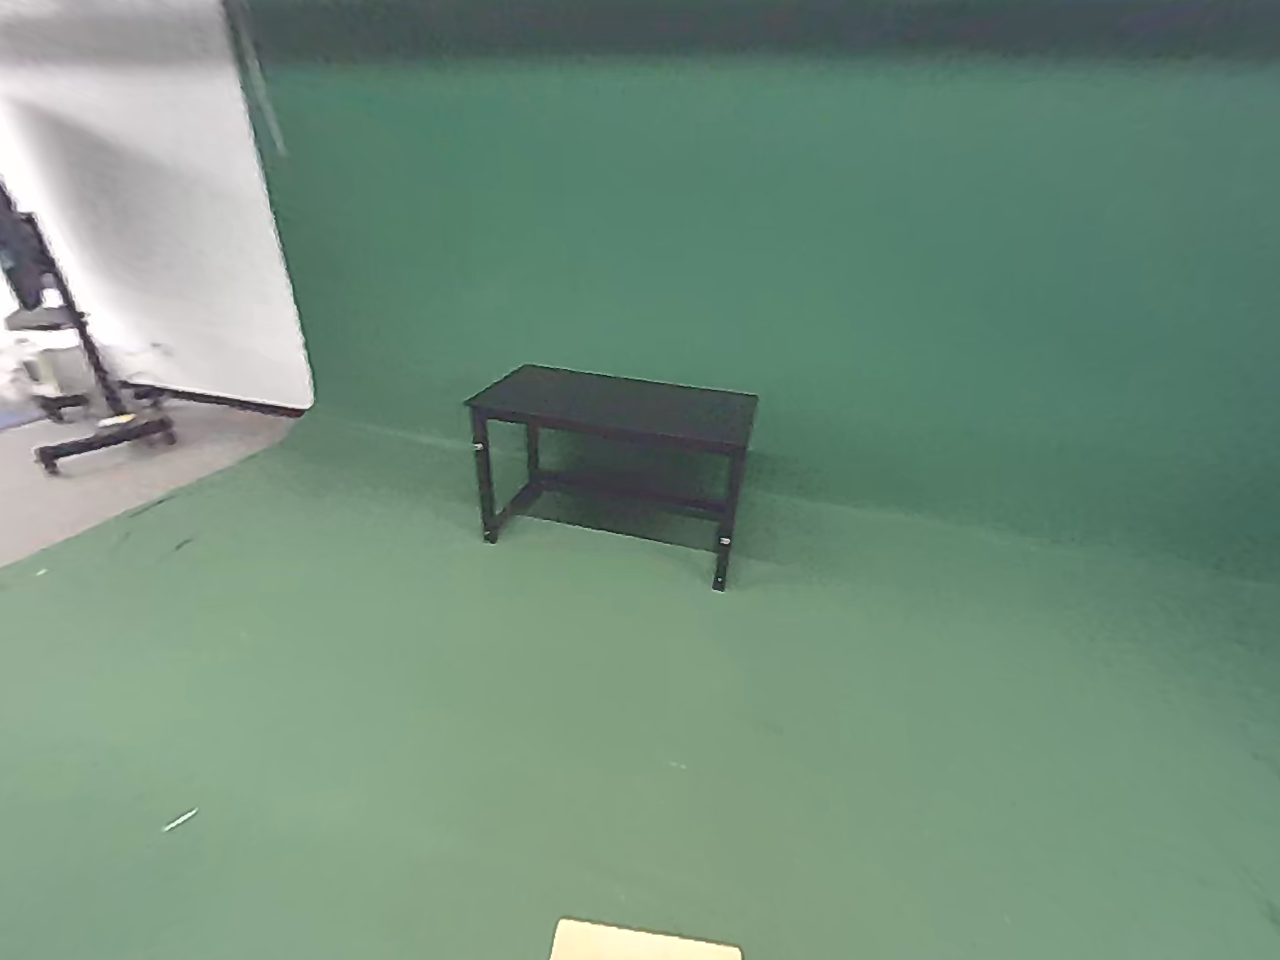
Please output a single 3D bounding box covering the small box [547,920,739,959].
[{"bbox_3d":[-0.008,0.510,0.440,0.168,0.176,0.179,4,32,5],"label":"small box"}]
